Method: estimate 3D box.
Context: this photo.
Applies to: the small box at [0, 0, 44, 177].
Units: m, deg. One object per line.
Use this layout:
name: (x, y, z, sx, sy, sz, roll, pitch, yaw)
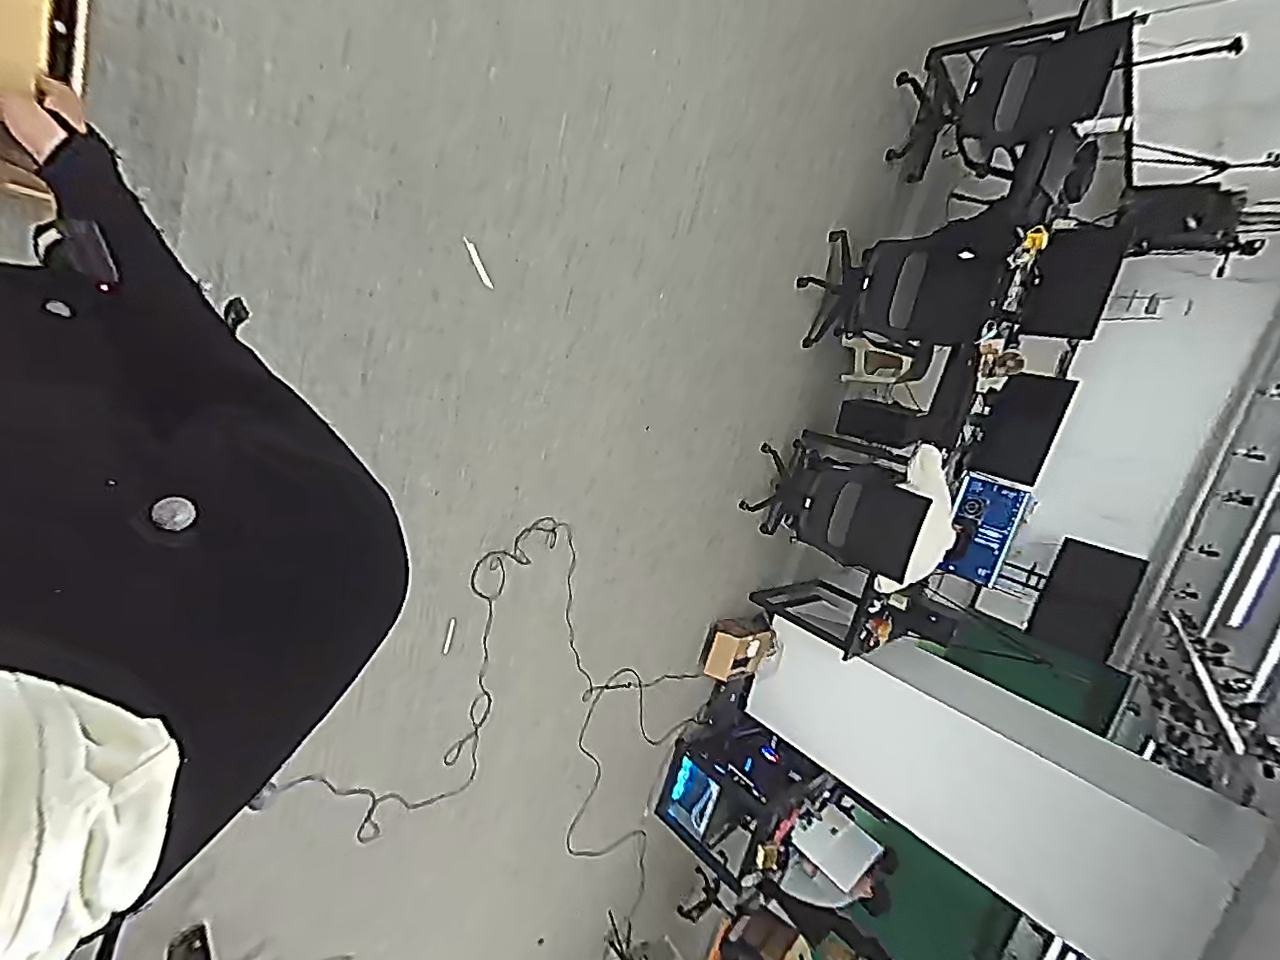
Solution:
small box: (-0.662, -0.392, 0.464, 0.168, 0.176, 0.179, -14, 102, -57)
